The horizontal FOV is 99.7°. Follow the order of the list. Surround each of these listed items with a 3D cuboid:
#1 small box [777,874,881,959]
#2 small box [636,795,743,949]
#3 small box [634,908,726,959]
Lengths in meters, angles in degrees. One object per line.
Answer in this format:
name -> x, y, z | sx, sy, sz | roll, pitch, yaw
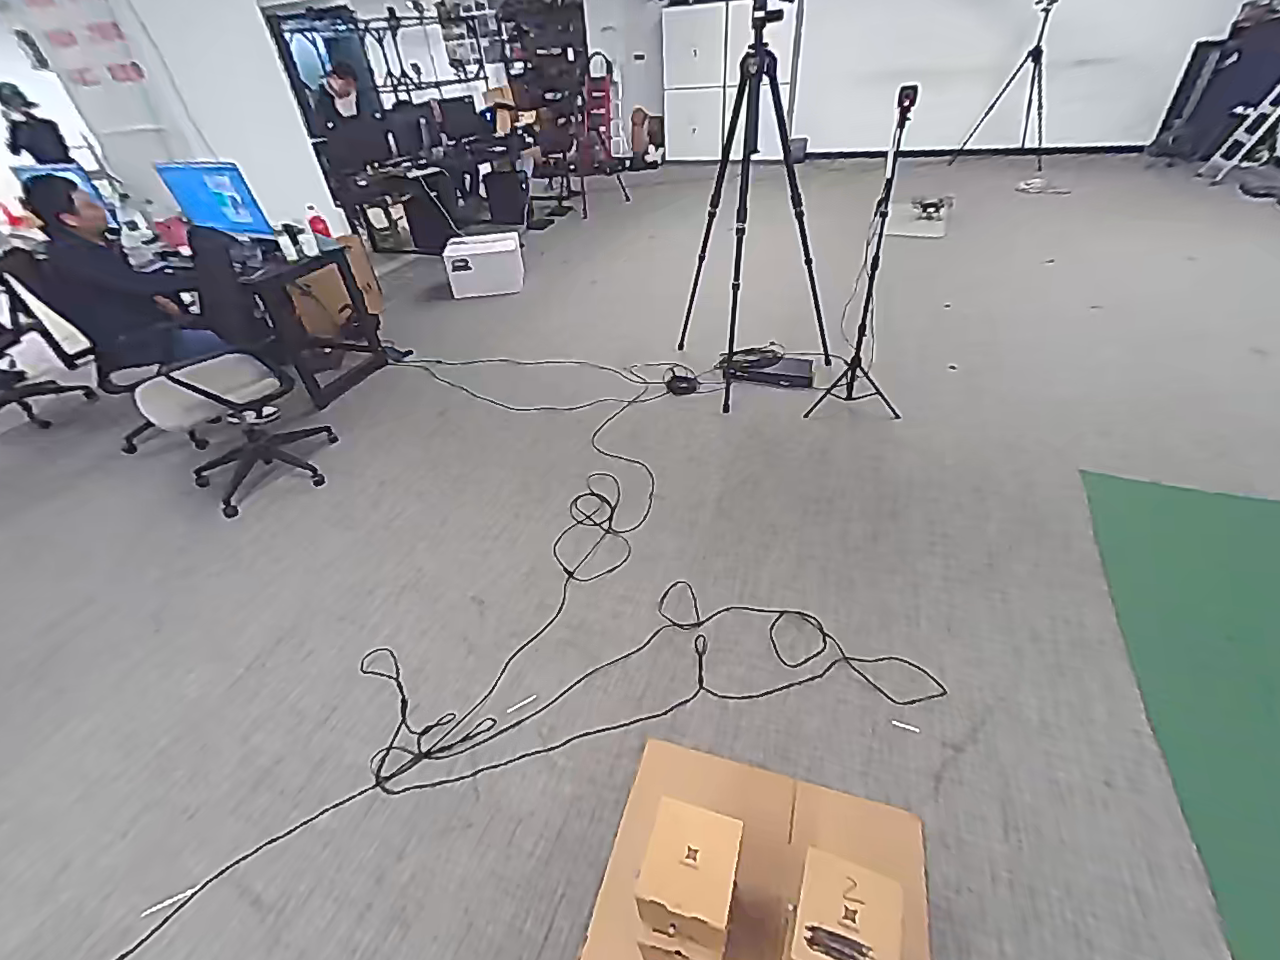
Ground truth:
small box -> 0.365, 0.934, 1.066 | 0.168, 0.176, 0.179 | 11, 42, 21
small box -> 0.098, 0.759, 1.049 | 0.168, 0.176, 0.179 | 9, 41, 17
small box -> 0.096, 0.902, 1.132 | 0.168, 0.176, 0.179 | 7, 40, 15
